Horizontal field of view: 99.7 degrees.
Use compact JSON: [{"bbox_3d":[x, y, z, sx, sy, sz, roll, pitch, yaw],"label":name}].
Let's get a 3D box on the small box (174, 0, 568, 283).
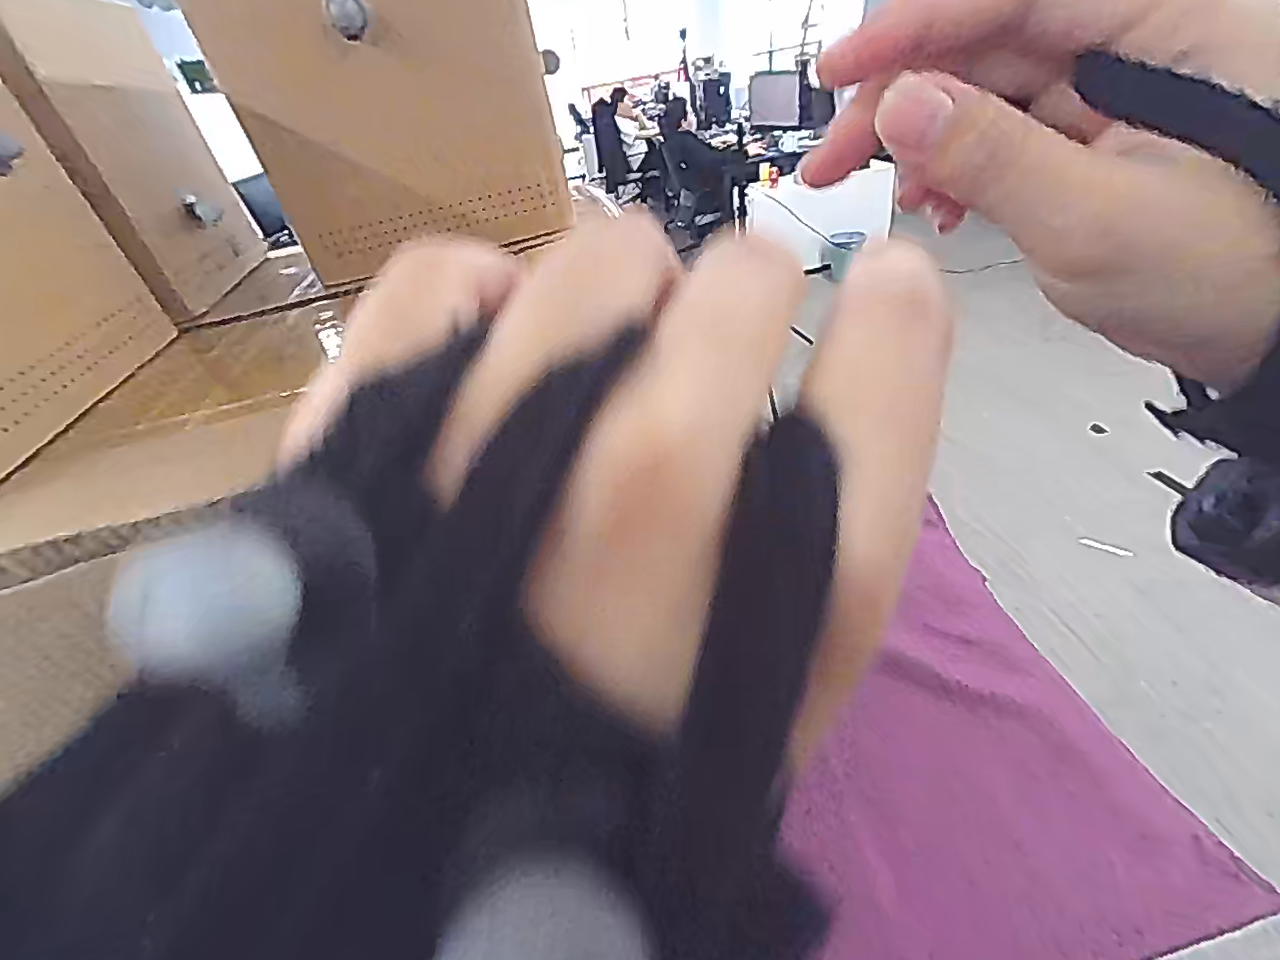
[{"bbox_3d":[-0.153,-0.257,0.372,0.179,0.176,0.168,-16,38,-4],"label":"small box"}]
